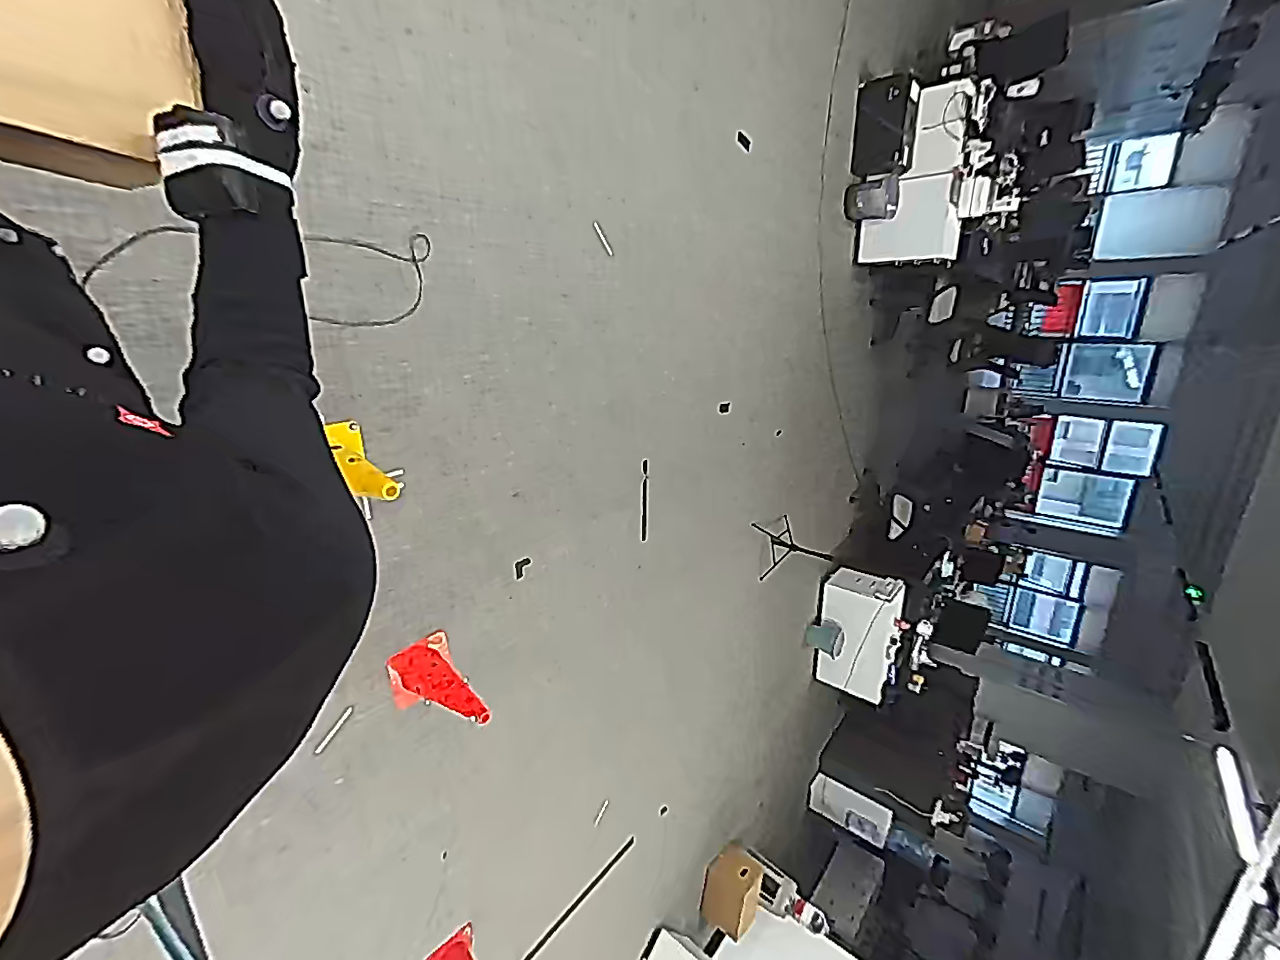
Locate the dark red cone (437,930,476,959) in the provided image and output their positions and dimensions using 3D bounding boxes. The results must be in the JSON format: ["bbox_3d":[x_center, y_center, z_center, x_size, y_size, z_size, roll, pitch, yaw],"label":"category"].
[{"bbox_3d":[-0.598,1.903,1.979,0.201,0.394,0.202,-12,110,-48],"label":"dark red cone"}]

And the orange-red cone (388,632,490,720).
[{"bbox_3d":[-0.582,0.643,1.655,0.198,0.360,0.199,-24,118,-47],"label":"orange-red cone"}]

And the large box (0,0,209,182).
[{"bbox_3d":[-0.553,-0.407,0.316,0.408,0.320,0.320,-9,114,-51],"label":"large box"}]
